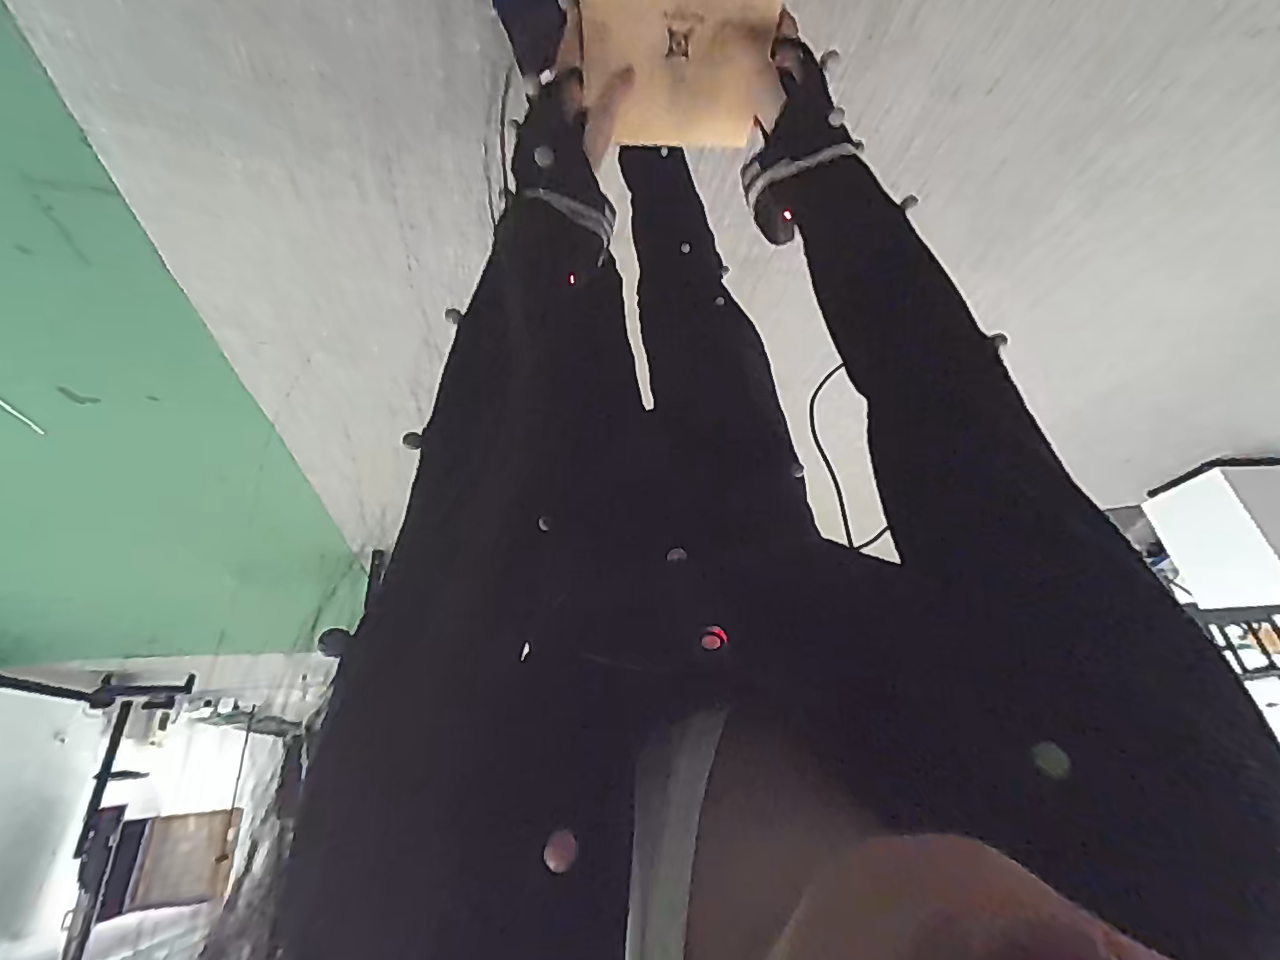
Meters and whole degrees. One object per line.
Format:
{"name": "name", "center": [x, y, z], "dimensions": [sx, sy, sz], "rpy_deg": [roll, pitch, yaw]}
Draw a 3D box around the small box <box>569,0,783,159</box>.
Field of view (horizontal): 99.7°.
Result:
{"name": "small box", "center": [0.022, -0.433, 0.500], "dimensions": [0.168, 0.176, 0.179], "rpy_deg": [-3, 149, -8]}
